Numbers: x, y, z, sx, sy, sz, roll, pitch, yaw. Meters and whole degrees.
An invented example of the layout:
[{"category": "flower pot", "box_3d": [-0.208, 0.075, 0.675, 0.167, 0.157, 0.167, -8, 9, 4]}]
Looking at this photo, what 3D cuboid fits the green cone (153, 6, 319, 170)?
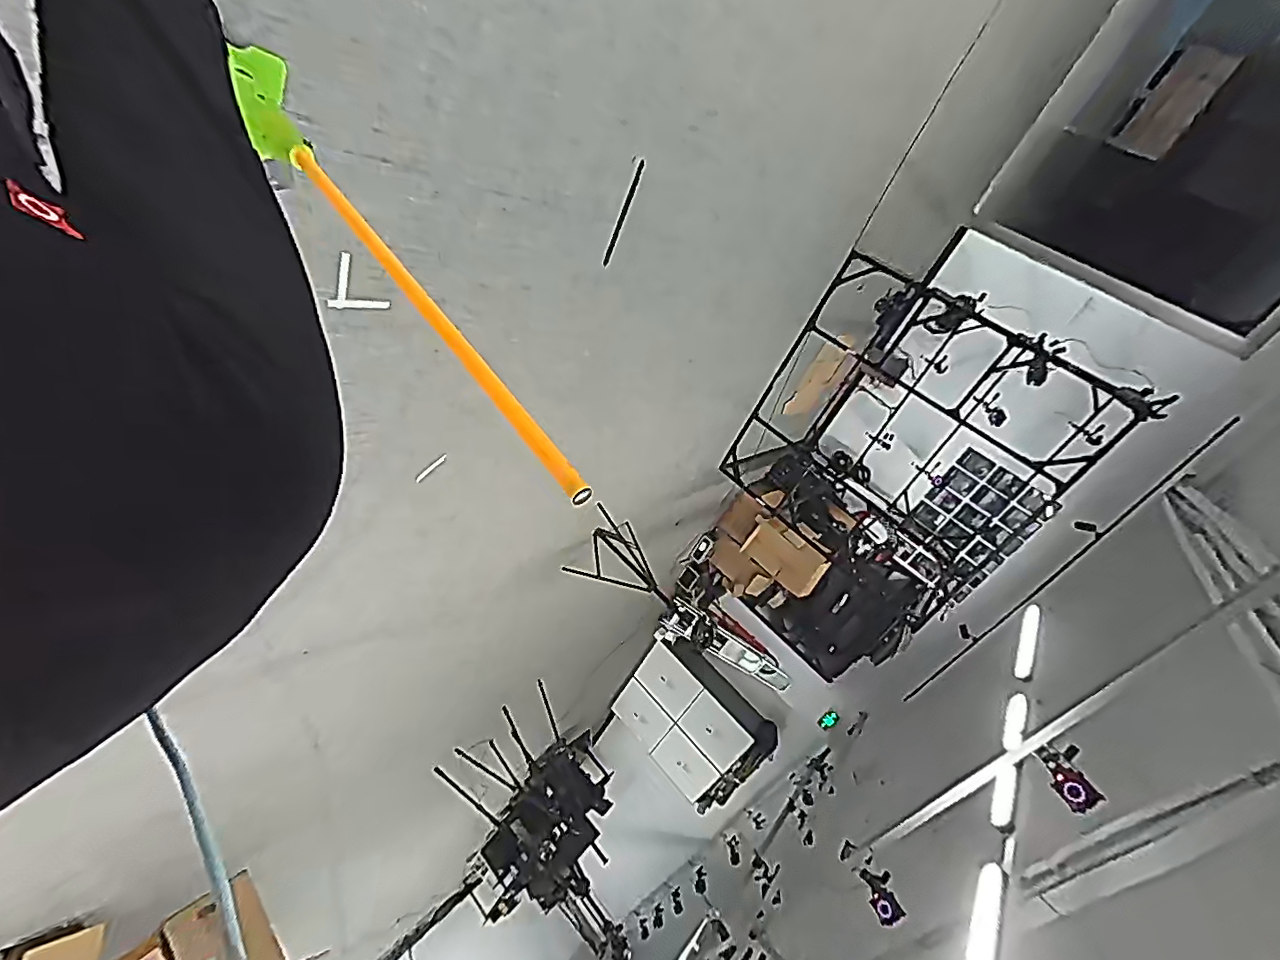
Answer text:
[{"category": "green cone", "box_3d": [-0.703, -0.662, 0.995, 0.202, 0.368, 0.200, -15, 141, -55]}]
